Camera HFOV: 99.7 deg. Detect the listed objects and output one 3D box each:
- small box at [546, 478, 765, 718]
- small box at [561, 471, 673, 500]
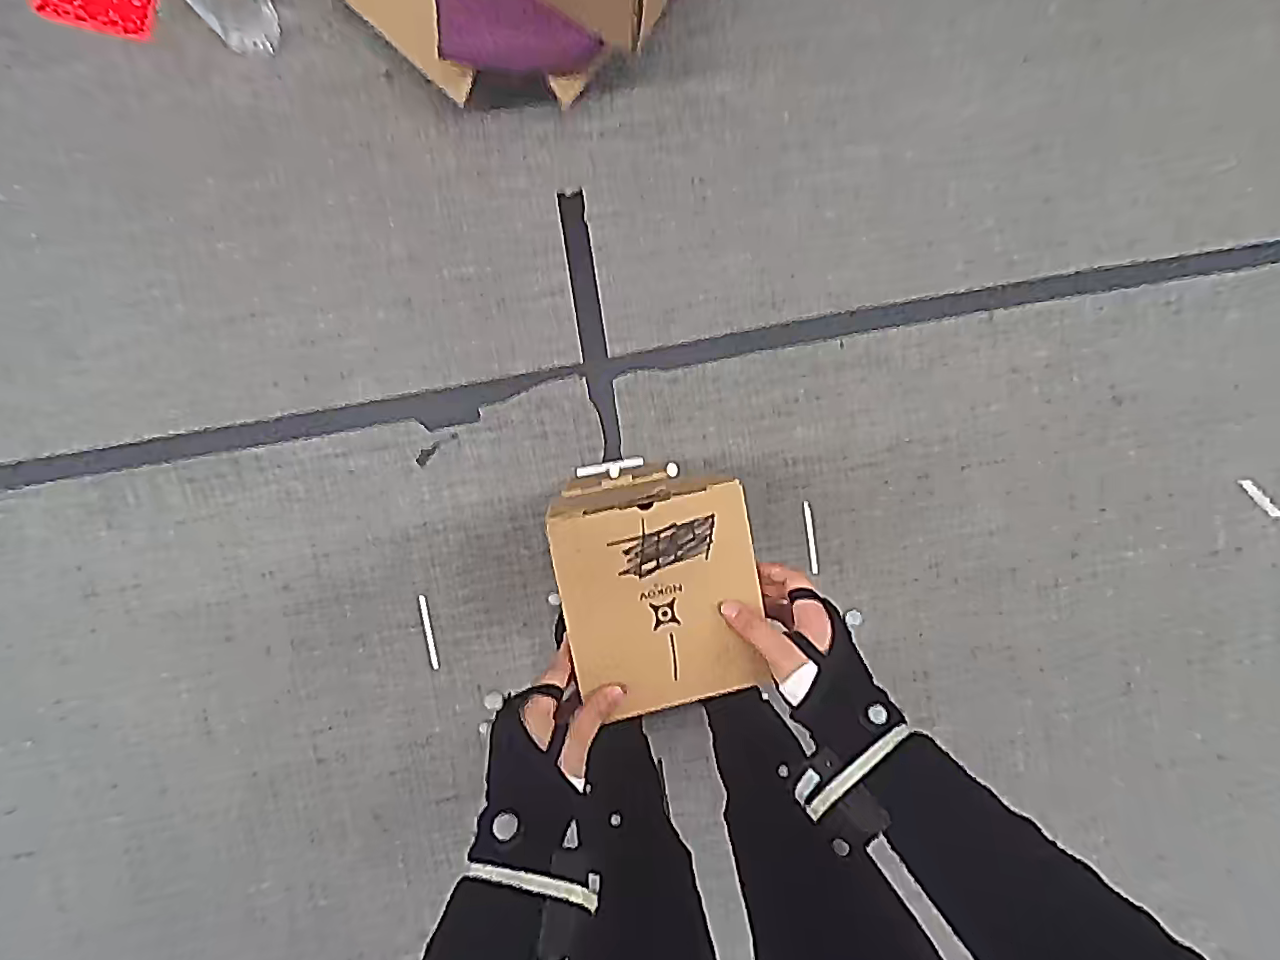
[{"bbox_3d":[0.004,0.096,0.532,0.168,0.176,0.179,-11,95,-6],"label":"small box"},{"bbox_3d":[-0.024,0.085,0.851,0.168,0.176,0.179,-12,93,-3],"label":"small box"}]
